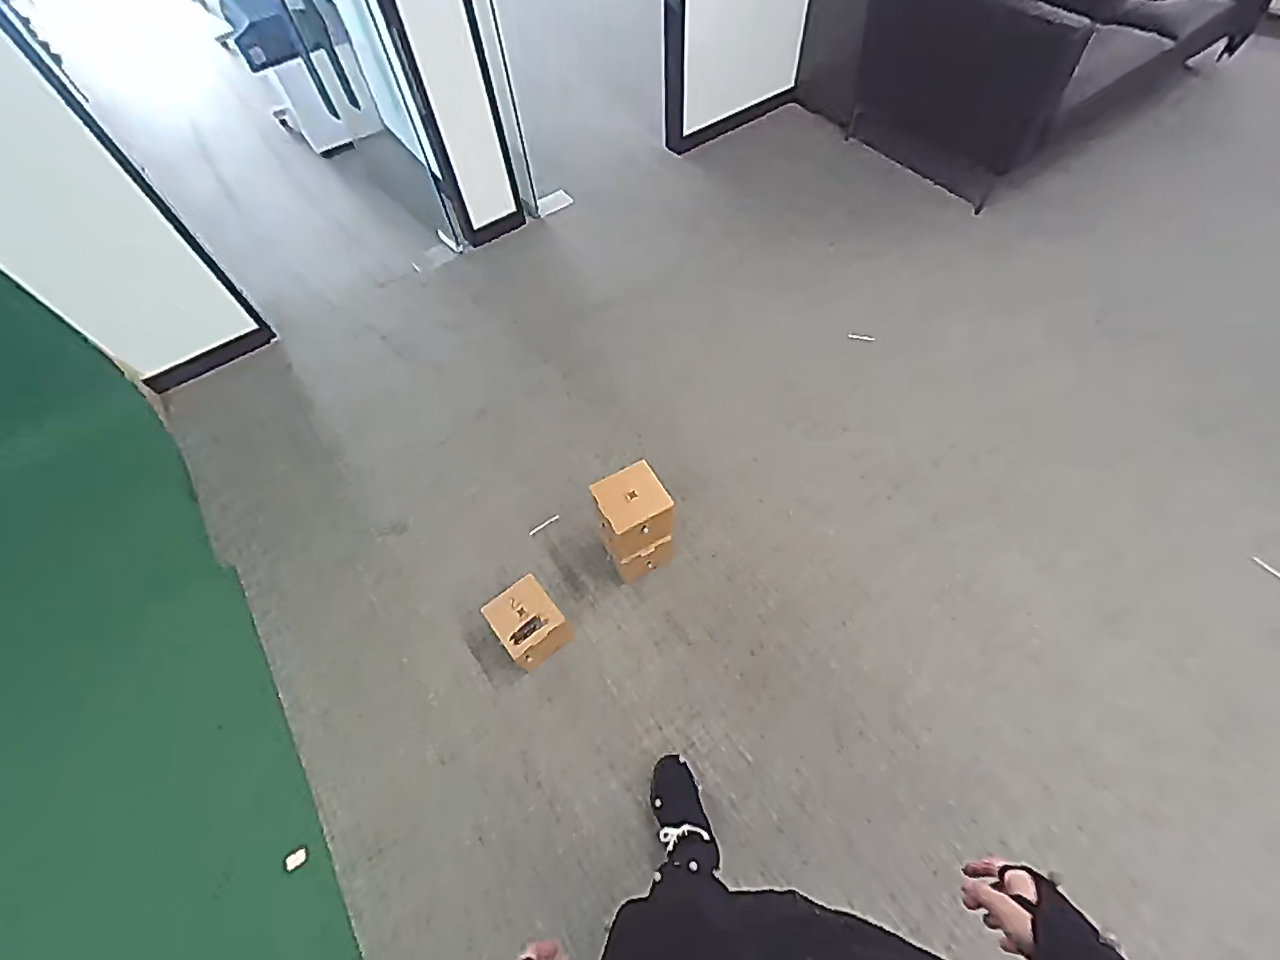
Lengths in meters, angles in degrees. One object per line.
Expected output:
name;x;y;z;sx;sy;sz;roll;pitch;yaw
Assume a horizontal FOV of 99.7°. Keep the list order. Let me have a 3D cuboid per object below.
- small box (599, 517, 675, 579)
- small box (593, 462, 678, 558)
small box;-0.006;0.181;1.628;0.168;0.176;0.179;-25;62;-12
small box;-0.011;0.087;1.495;0.179;0.176;0.168;-28;61;-12
